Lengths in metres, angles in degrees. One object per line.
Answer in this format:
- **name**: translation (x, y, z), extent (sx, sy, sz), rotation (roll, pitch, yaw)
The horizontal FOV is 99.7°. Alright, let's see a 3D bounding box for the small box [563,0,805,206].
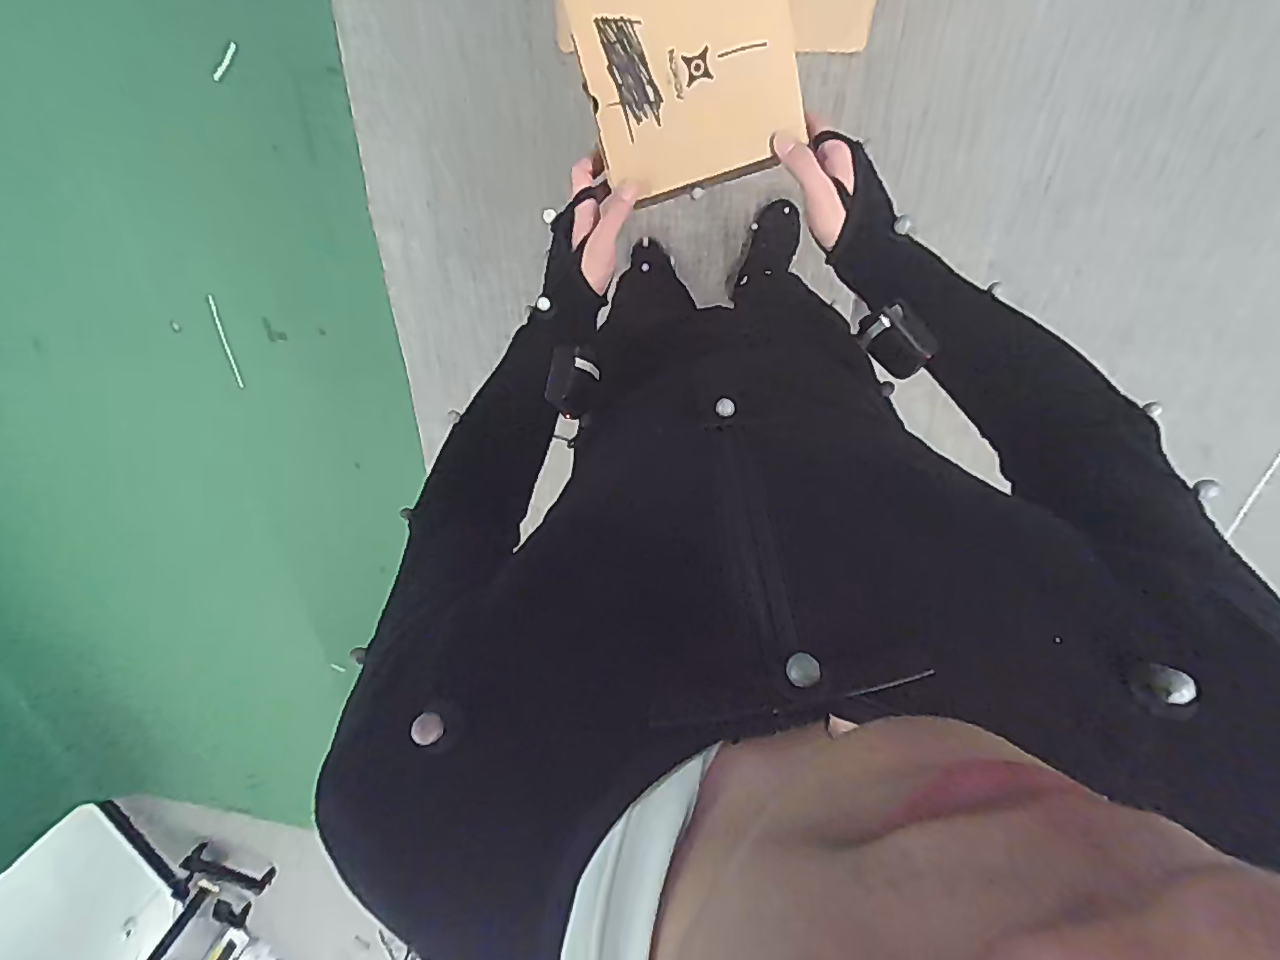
- **small box**: translation (0.047, -0.376, 0.522), extent (0.179, 0.176, 0.168), rotation (-12, 114, 11)
